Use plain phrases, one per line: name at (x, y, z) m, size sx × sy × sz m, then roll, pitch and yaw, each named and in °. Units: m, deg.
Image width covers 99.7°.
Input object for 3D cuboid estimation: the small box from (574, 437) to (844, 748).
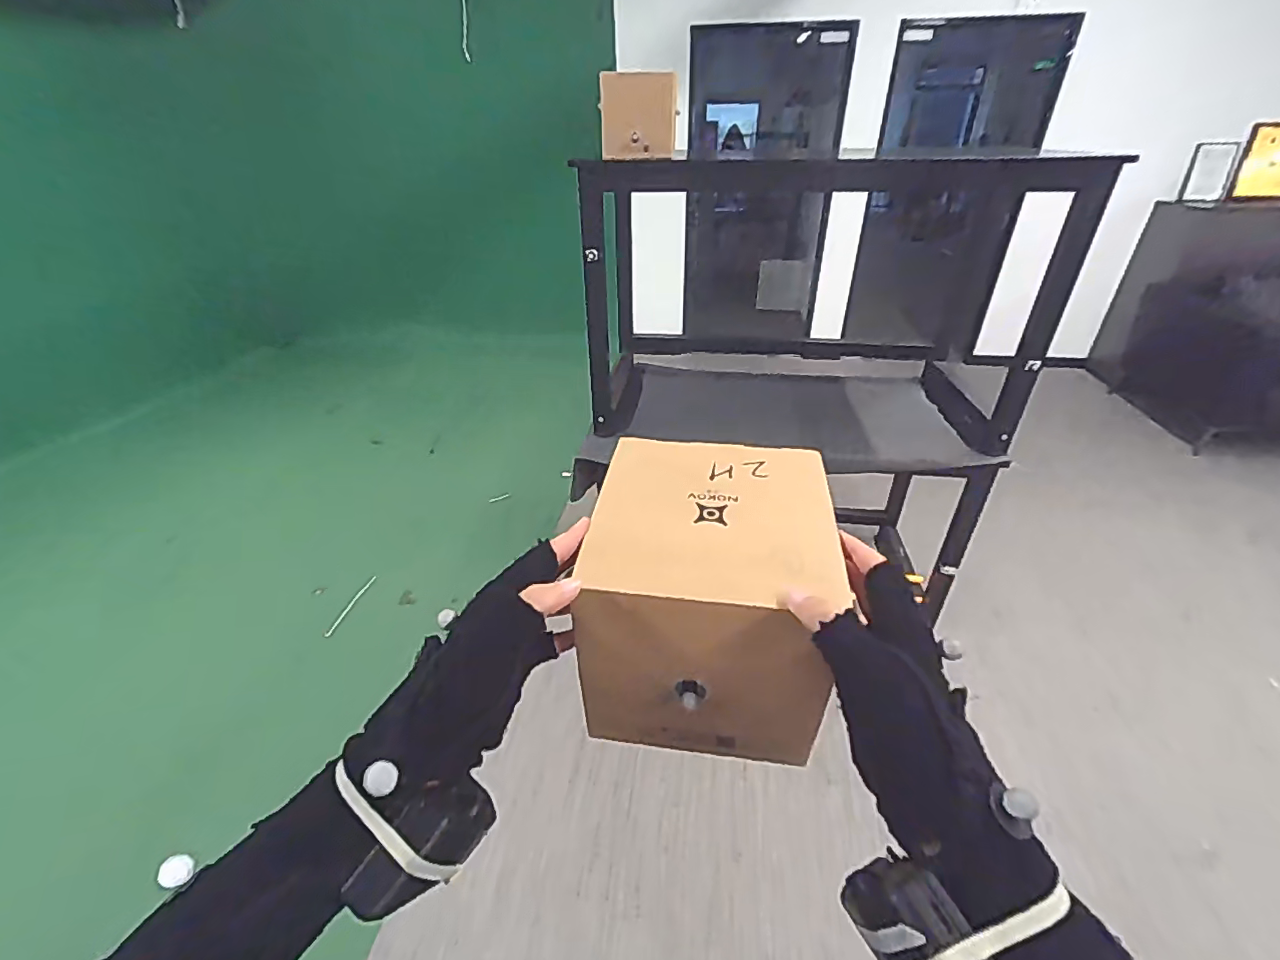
small box at (0.054, 0.084, 0.434) m, size 0.168 × 0.176 × 0.179 m, roll 5°, pitch 35°, yaw 8°
